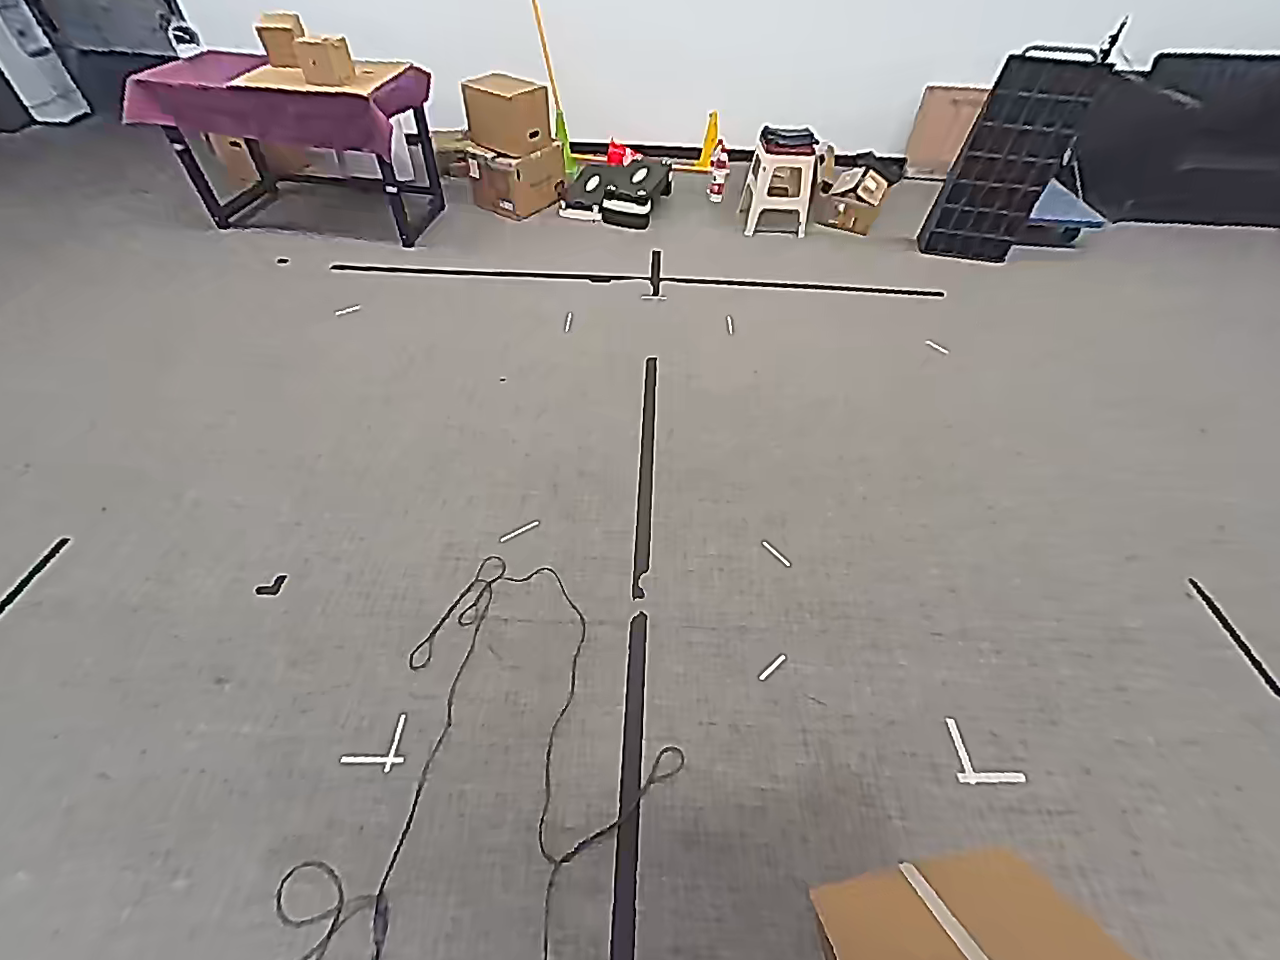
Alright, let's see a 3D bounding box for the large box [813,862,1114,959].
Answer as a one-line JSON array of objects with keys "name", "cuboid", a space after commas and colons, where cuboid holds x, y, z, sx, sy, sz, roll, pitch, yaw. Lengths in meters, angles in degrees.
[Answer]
[{"name": "large box", "cuboid": [0.439, 0.740, 0.618, 0.320, 0.408, 0.320, -12, 84, -1]}]
